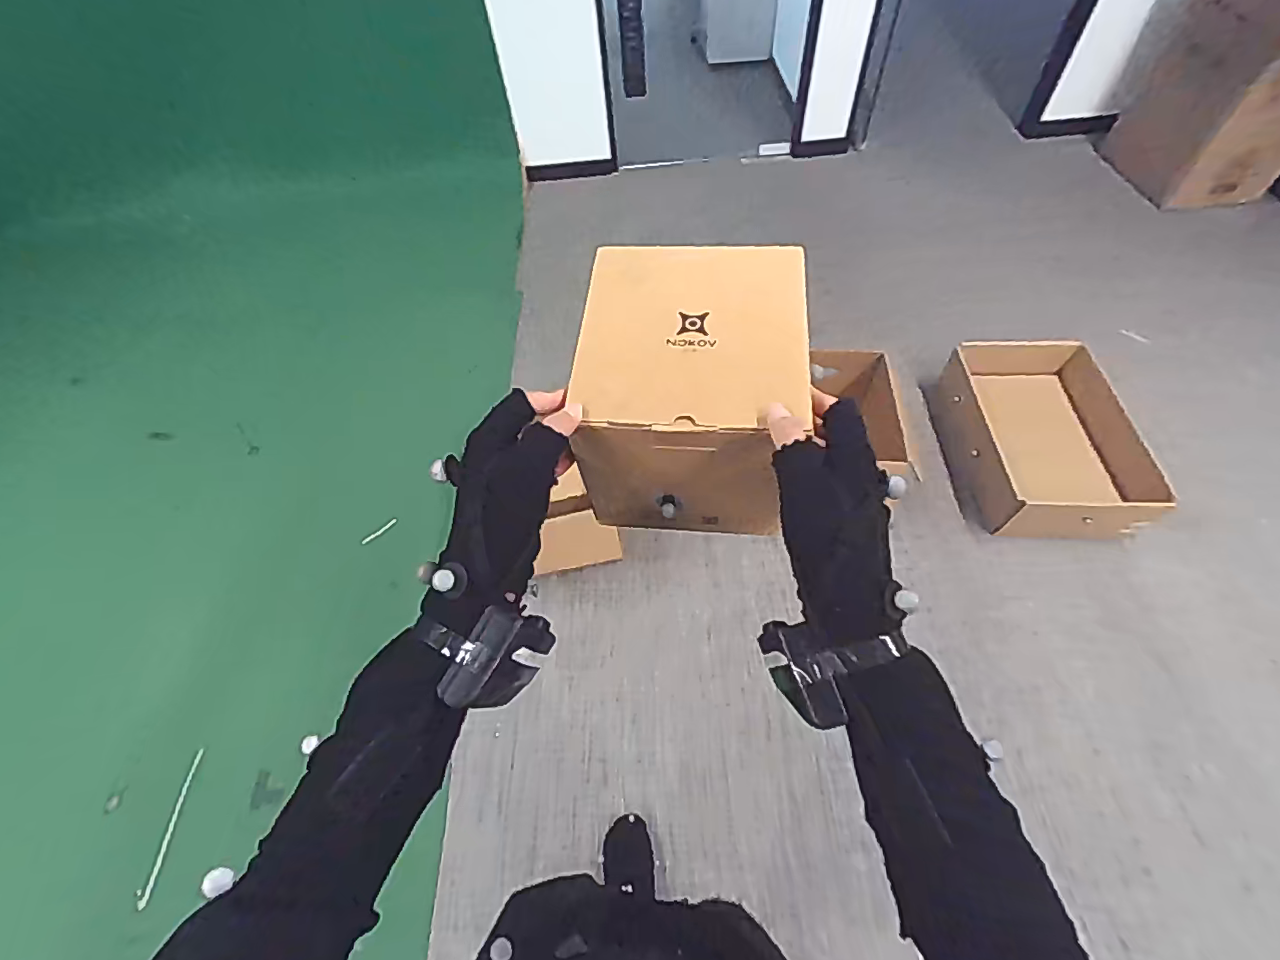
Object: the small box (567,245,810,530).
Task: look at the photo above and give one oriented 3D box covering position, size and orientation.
[{"bbox_3d":[0.045,-0.074,0.467,0.168,0.176,0.179,3,62,7],"label":"small box"}]
